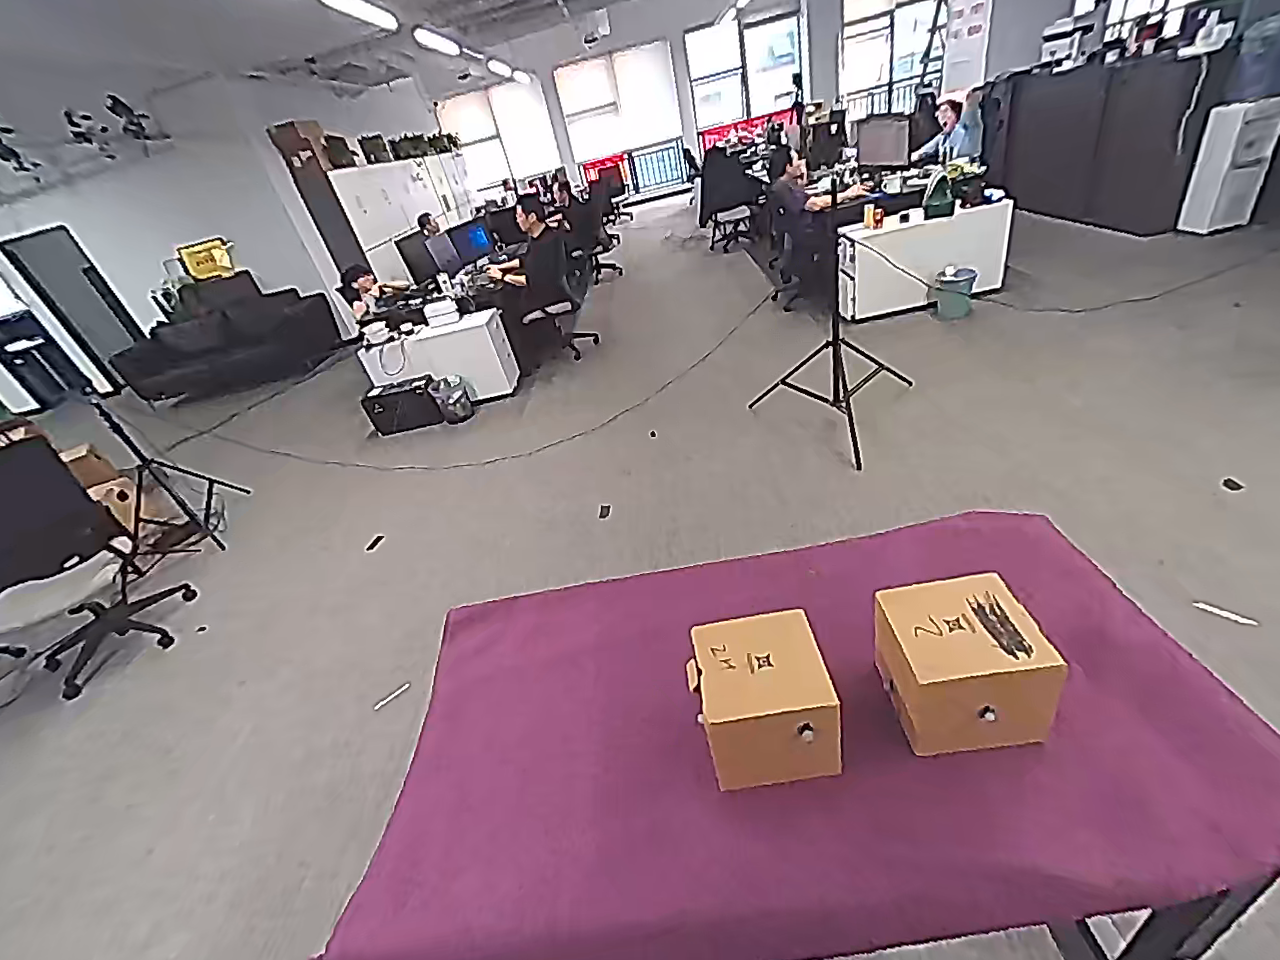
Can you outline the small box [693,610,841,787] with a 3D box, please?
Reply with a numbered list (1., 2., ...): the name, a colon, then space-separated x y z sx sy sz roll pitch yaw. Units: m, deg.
1. small box: 0.184 0.322 0.799 0.179 0.176 0.168 -12 32 5
